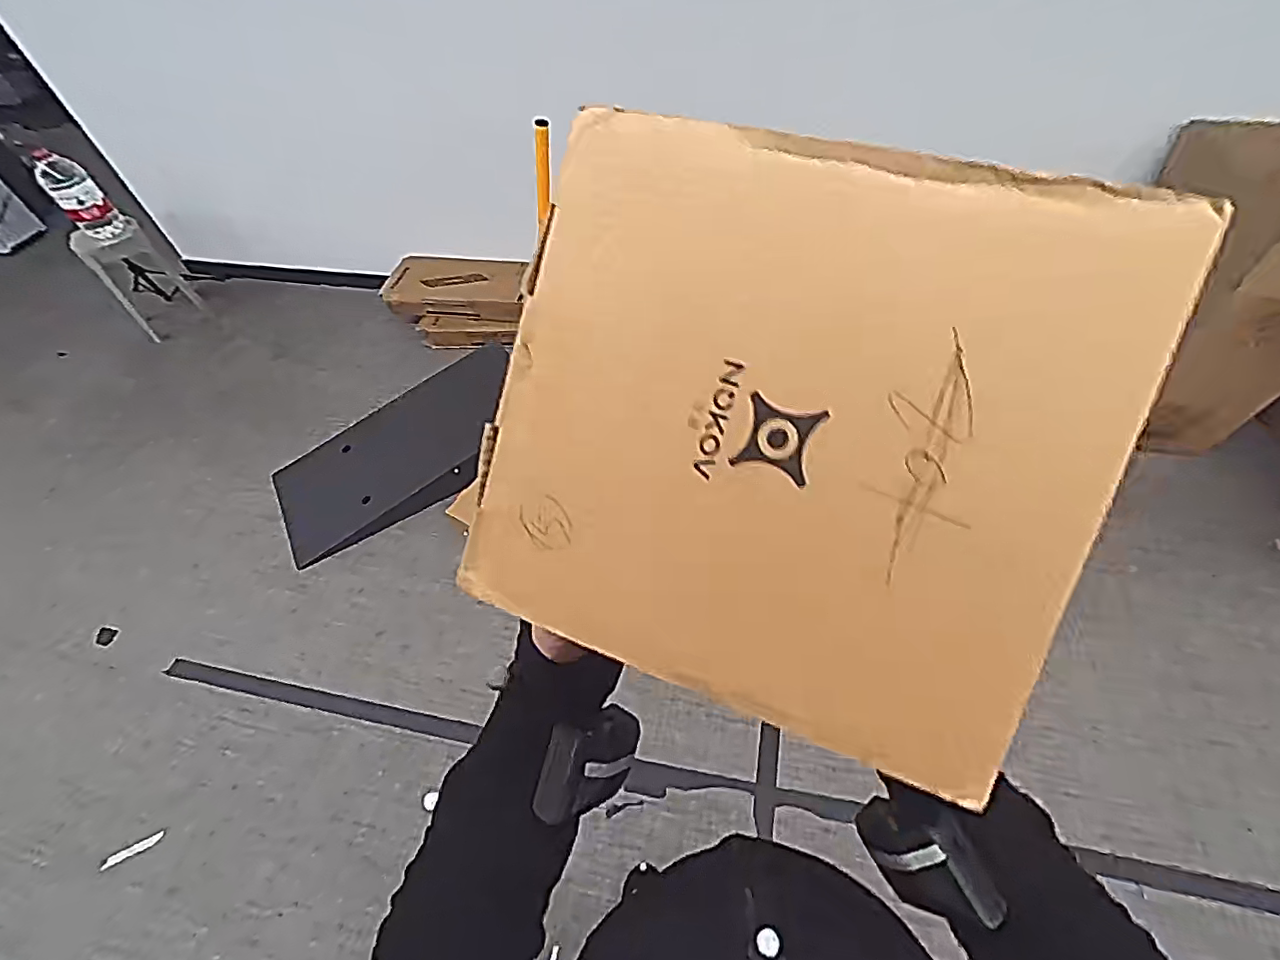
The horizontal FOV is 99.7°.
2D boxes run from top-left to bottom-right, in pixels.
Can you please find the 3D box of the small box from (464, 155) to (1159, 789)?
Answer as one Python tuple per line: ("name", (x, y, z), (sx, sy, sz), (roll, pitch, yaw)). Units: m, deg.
("small box", (0.056, -0.012, 0.249), (0.179, 0.176, 0.168), (18, 98, 14))
